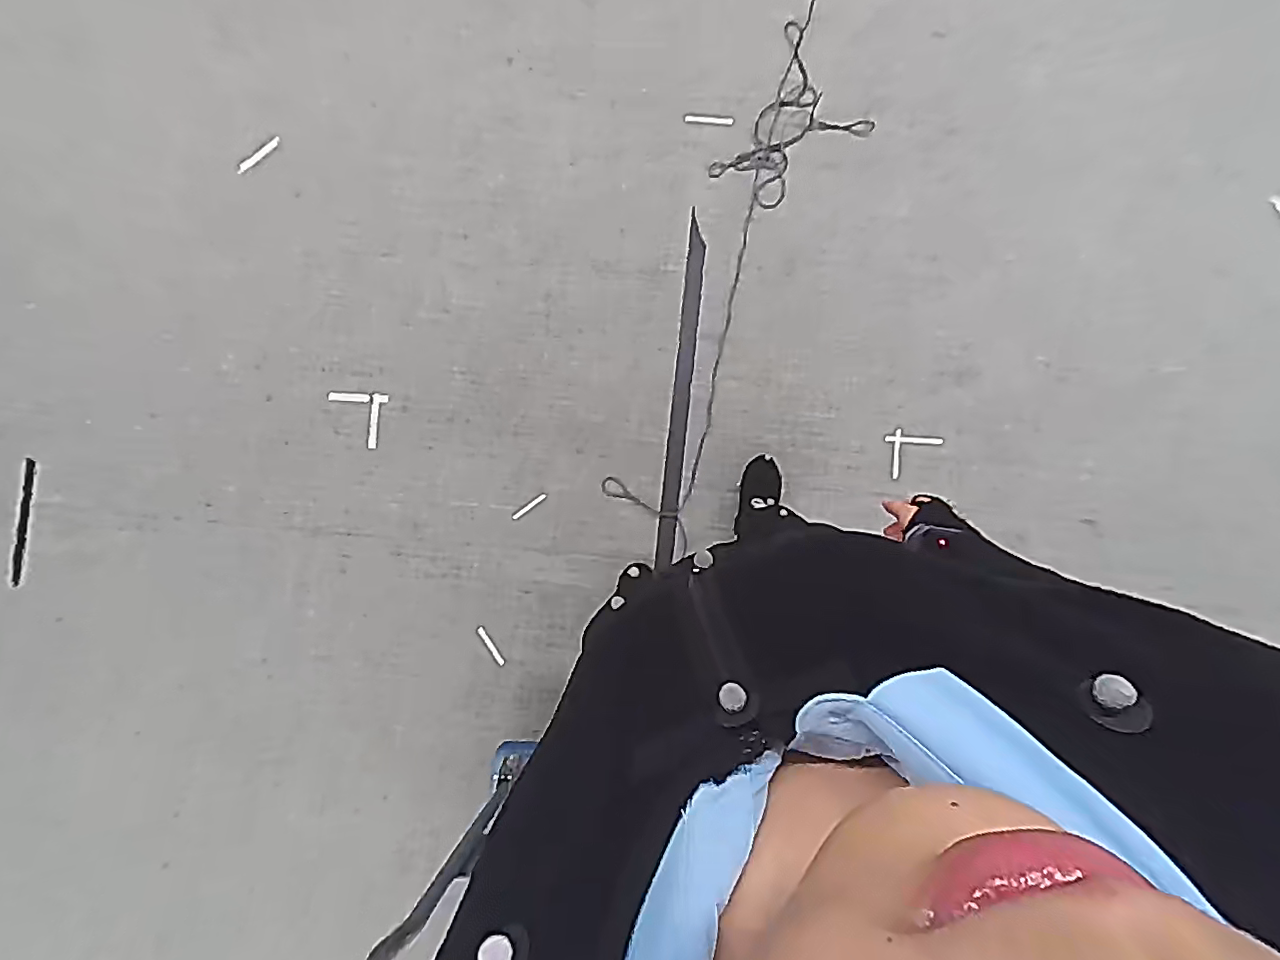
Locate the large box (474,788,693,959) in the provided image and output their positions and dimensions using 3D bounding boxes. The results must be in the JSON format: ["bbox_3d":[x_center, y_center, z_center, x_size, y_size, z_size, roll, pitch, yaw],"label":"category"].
[{"bbox_3d":[-0.097,0.885,1.130,0.408,0.320,0.320,3,85,3],"label":"large box"}]
